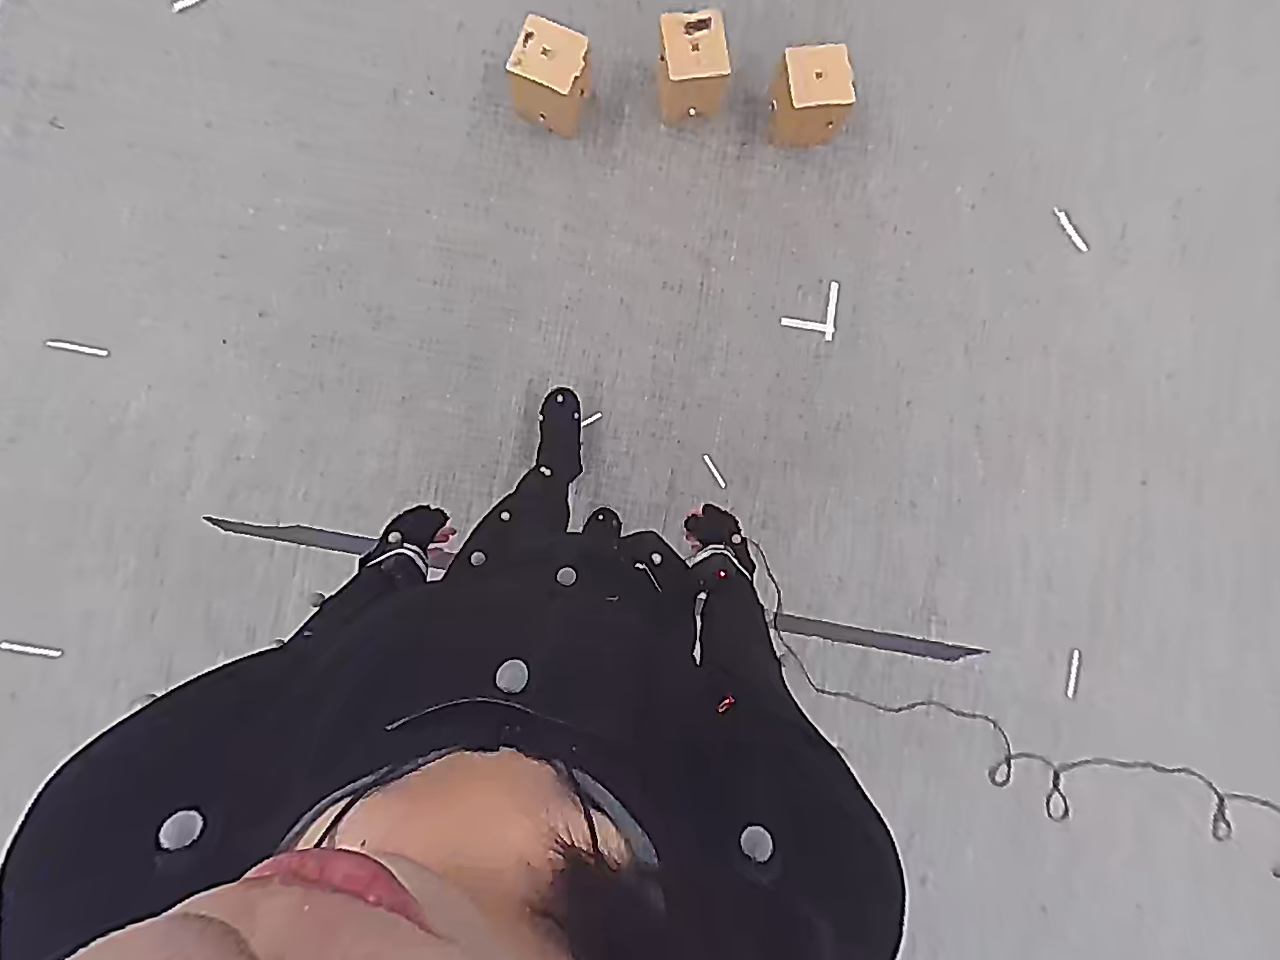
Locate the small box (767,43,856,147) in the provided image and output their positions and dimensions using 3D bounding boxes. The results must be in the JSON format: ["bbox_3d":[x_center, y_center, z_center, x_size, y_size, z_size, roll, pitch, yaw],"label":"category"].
[{"bbox_3d":[0.472,-1.066,1.509,0.179,0.176,0.168,-9,88,-3],"label":"small box"}]

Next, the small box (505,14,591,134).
[{"bbox_3d":[-0.239,-1.088,1.467,0.179,0.176,0.168,23,87,-2],"label":"small box"}]

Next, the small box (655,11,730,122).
[{"bbox_3d":[0.138,-1.132,1.489,0.168,0.176,0.179,-9,89,-4],"label":"small box"}]
